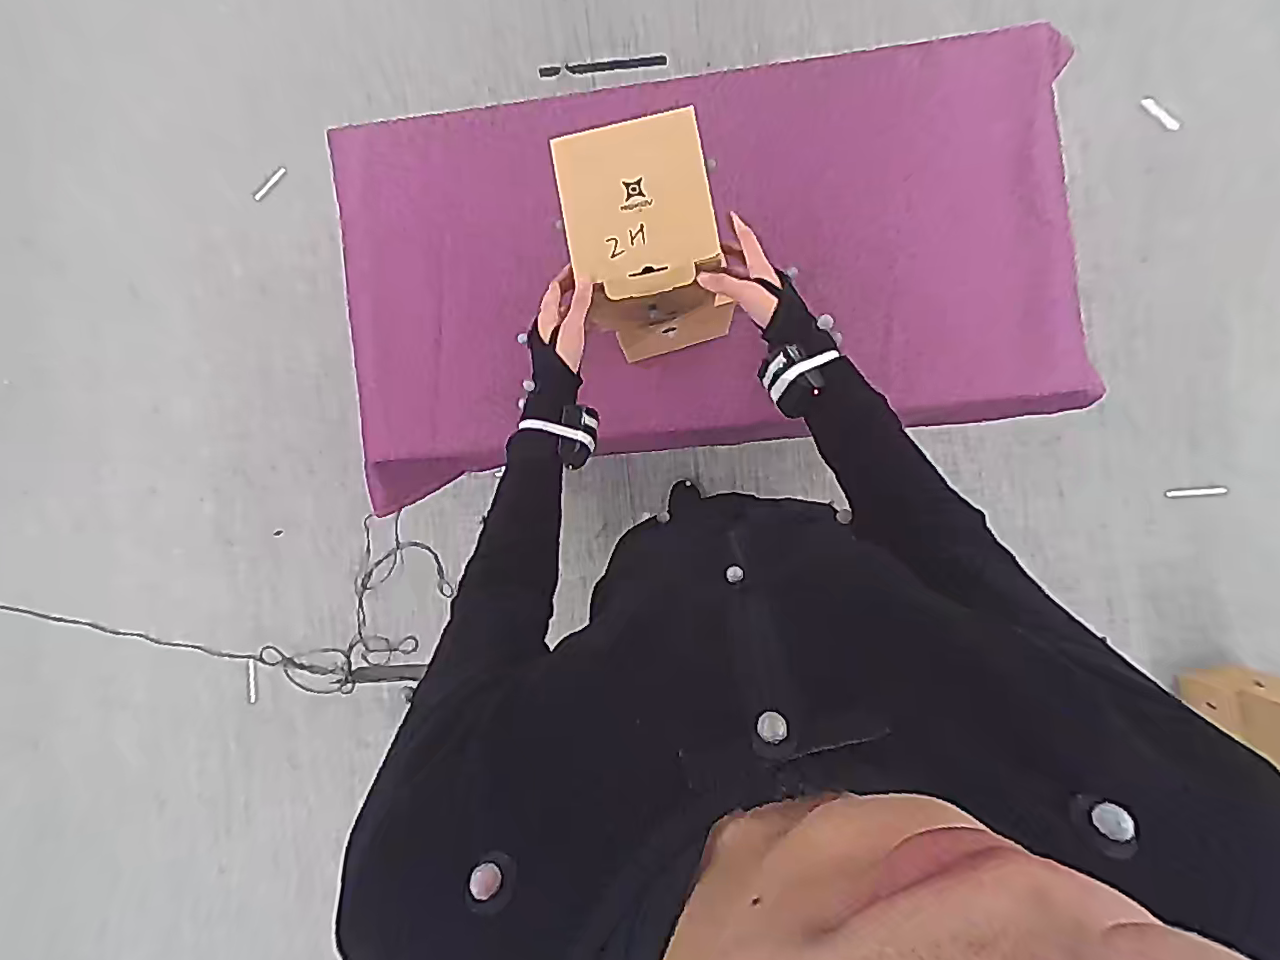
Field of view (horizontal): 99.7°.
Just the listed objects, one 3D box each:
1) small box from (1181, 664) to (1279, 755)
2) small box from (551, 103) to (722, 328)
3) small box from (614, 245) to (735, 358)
[{"bbox_3d":[1.588,0.597,1.423,0.179,0.176,0.168,-8,88,4],"label":"small box"},{"bbox_3d":[0.001,-0.310,0.670,0.168,0.176,0.179,-11,89,5],"label":"small box"},{"bbox_3d":[0.035,-0.302,0.832,0.179,0.176,0.168,-16,88,3],"label":"small box"}]
